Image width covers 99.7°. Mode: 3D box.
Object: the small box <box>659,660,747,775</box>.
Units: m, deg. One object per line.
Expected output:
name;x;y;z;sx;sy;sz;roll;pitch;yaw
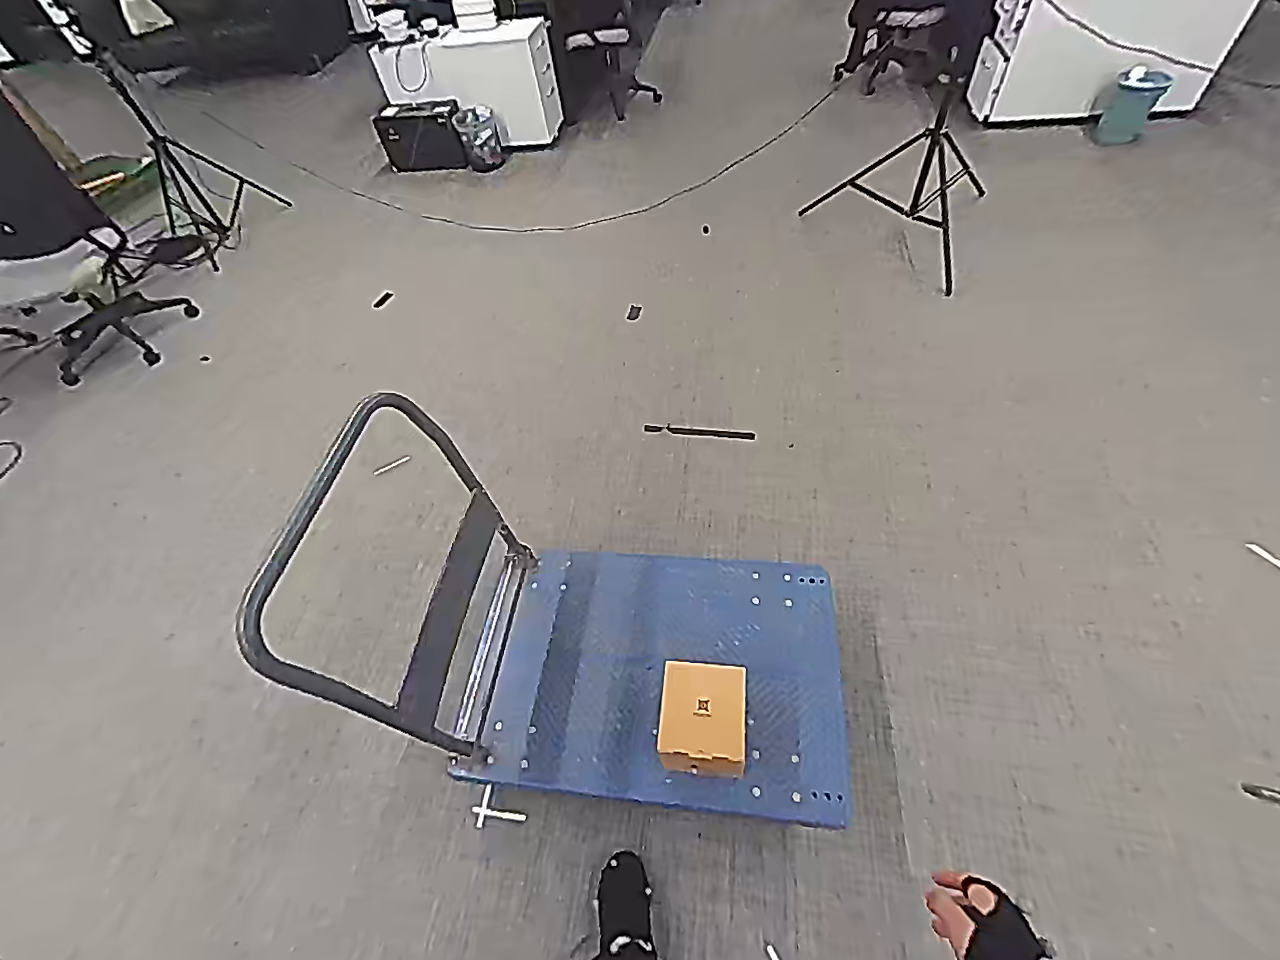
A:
small box;0.133;0.493;1.120;0.168;0.176;0.179;2;53;9
